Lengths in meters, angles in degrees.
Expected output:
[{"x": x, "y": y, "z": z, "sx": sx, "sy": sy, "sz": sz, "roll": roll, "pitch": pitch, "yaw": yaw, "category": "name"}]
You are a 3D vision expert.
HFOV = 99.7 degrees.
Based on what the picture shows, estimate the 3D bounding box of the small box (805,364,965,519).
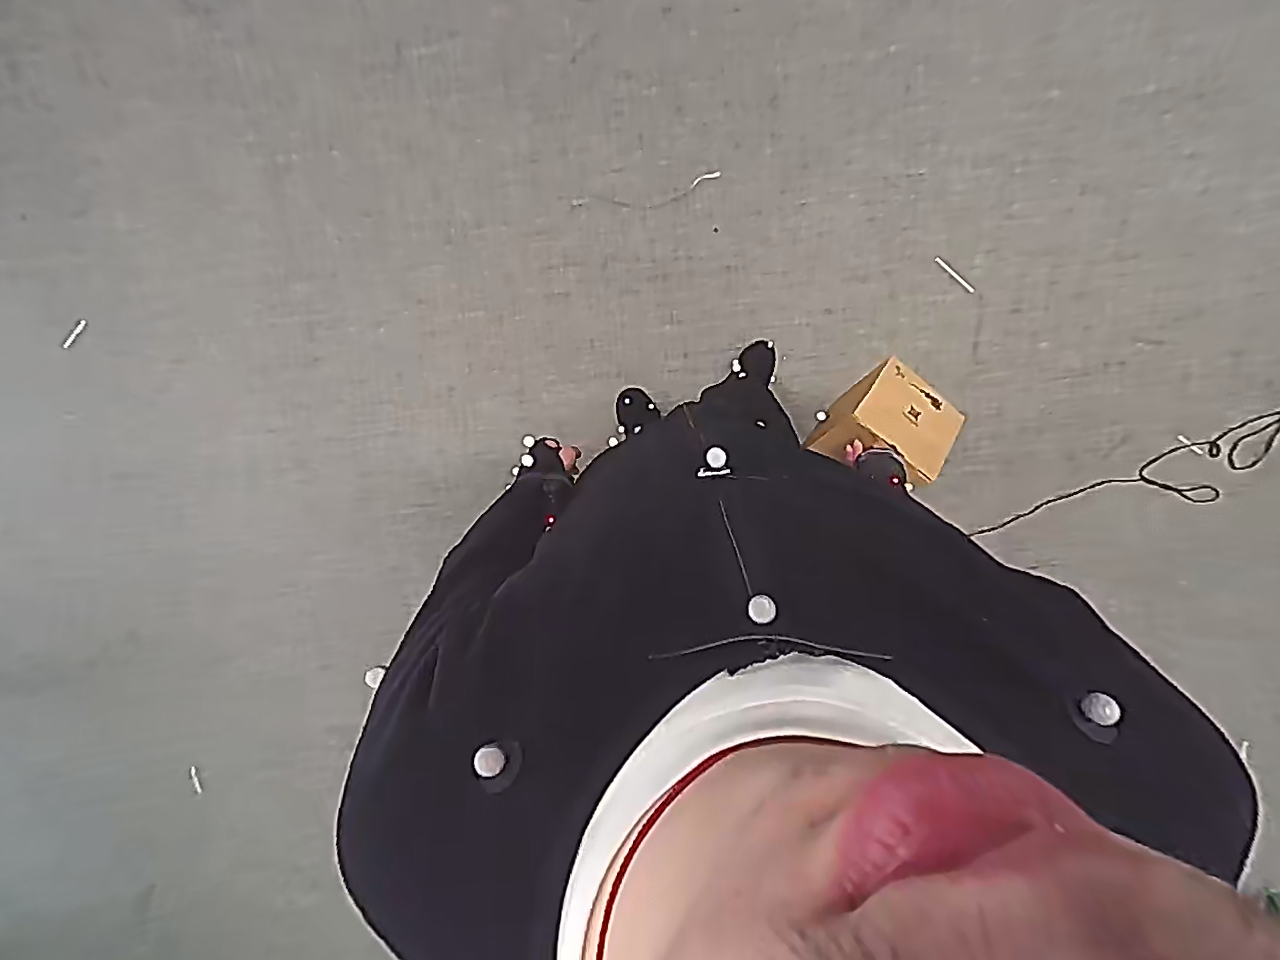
[{"x": 0.419, "y": -0.060, "z": 0.949, "sx": 0.168, "sy": 0.176, "sz": 0.179, "roll": 39, "pitch": 59, "yaw": 2, "category": "small box"}]
